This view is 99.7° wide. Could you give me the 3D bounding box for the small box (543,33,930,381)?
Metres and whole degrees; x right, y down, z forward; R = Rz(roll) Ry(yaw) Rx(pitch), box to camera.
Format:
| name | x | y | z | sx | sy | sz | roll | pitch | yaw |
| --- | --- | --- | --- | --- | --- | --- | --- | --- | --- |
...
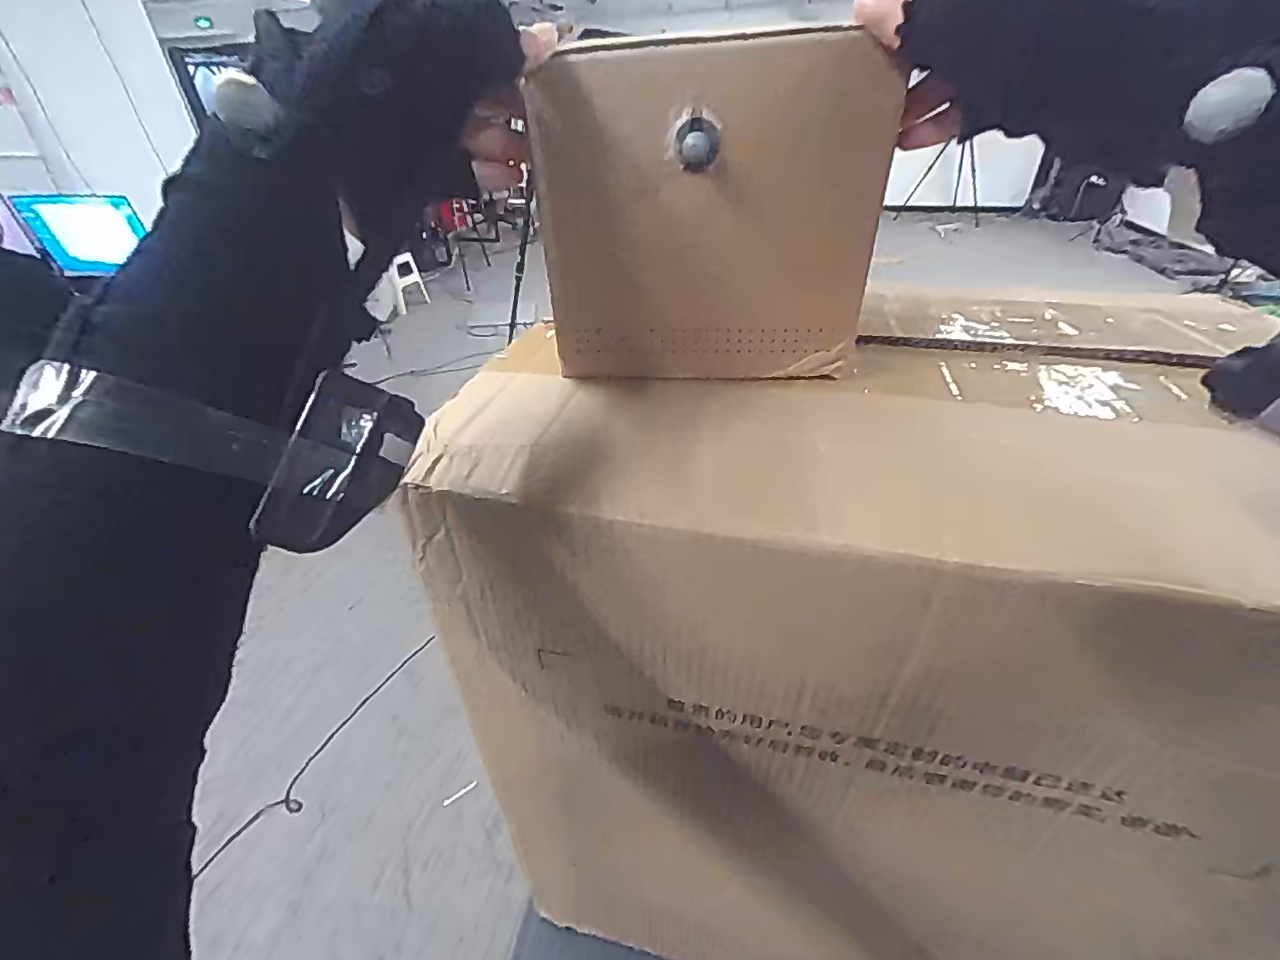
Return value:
| name | x | y | z | sx | sy | sz | roll | pitch | yaw |
| --- | --- | --- | --- | --- | --- | --- | --- | --- | --- |
| small box | 0.051 | -0.175 | 0.351 | 0.179 | 0.176 | 0.168 | 2 | 40 | 5 |
